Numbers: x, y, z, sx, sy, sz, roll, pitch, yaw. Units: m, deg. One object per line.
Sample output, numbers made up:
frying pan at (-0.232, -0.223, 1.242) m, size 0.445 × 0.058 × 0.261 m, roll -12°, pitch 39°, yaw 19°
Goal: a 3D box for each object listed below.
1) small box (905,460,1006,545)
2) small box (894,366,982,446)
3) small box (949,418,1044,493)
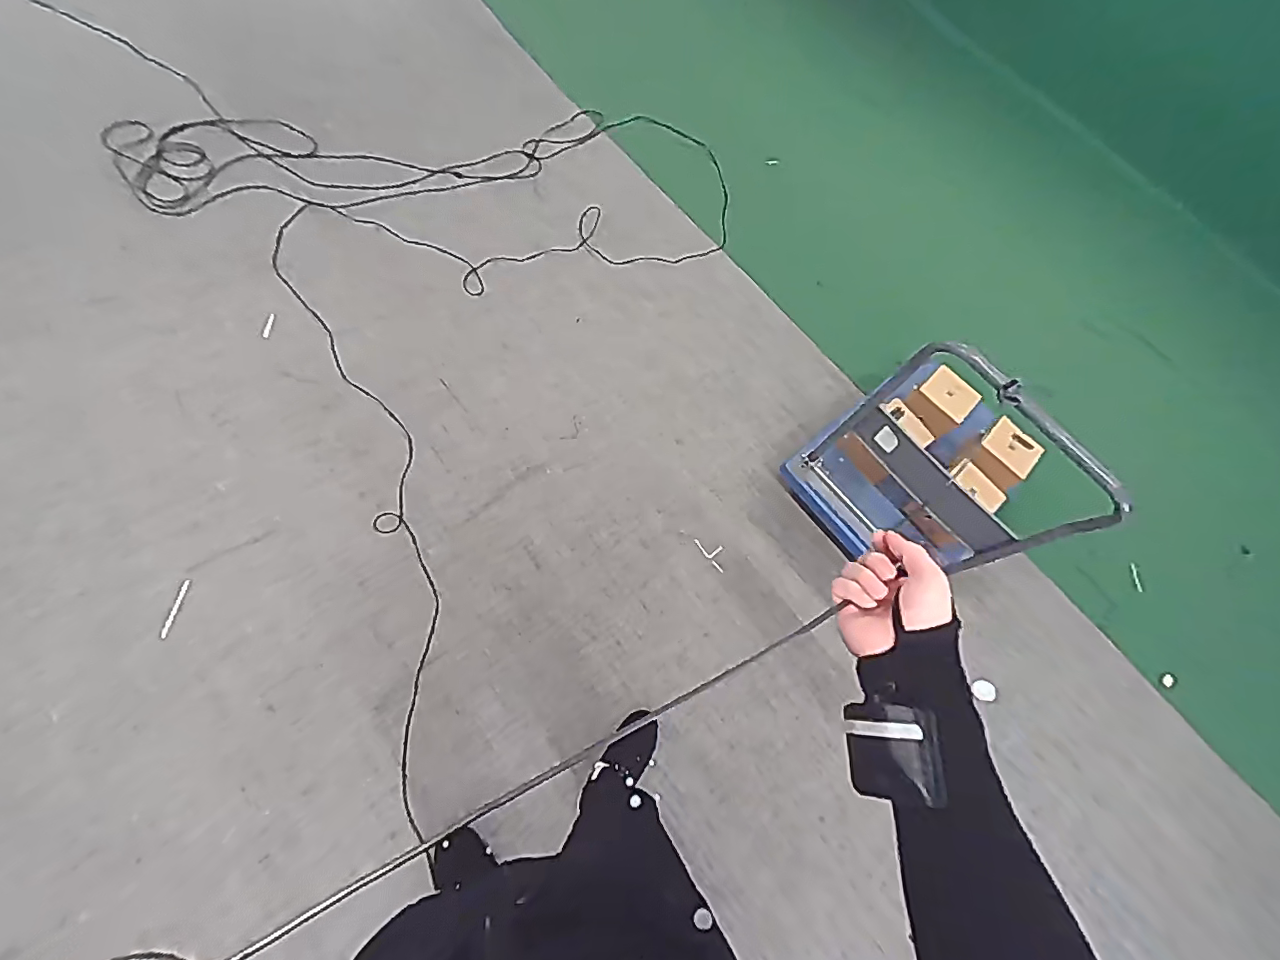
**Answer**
small box at (0.963, 0.073, 1.665) m, size 0.179 × 0.176 × 0.168 m, roll -34°, pitch 77°, yaw -24°
small box at (0.994, -0.244, 1.823) m, size 0.179 × 0.176 × 0.168 m, roll -38°, pitch 79°, yaw -26°
small box at (1.166, -0.066, 1.779) m, size 0.179 × 0.176 × 0.168 m, roll -39°, pitch 78°, yaw -25°
